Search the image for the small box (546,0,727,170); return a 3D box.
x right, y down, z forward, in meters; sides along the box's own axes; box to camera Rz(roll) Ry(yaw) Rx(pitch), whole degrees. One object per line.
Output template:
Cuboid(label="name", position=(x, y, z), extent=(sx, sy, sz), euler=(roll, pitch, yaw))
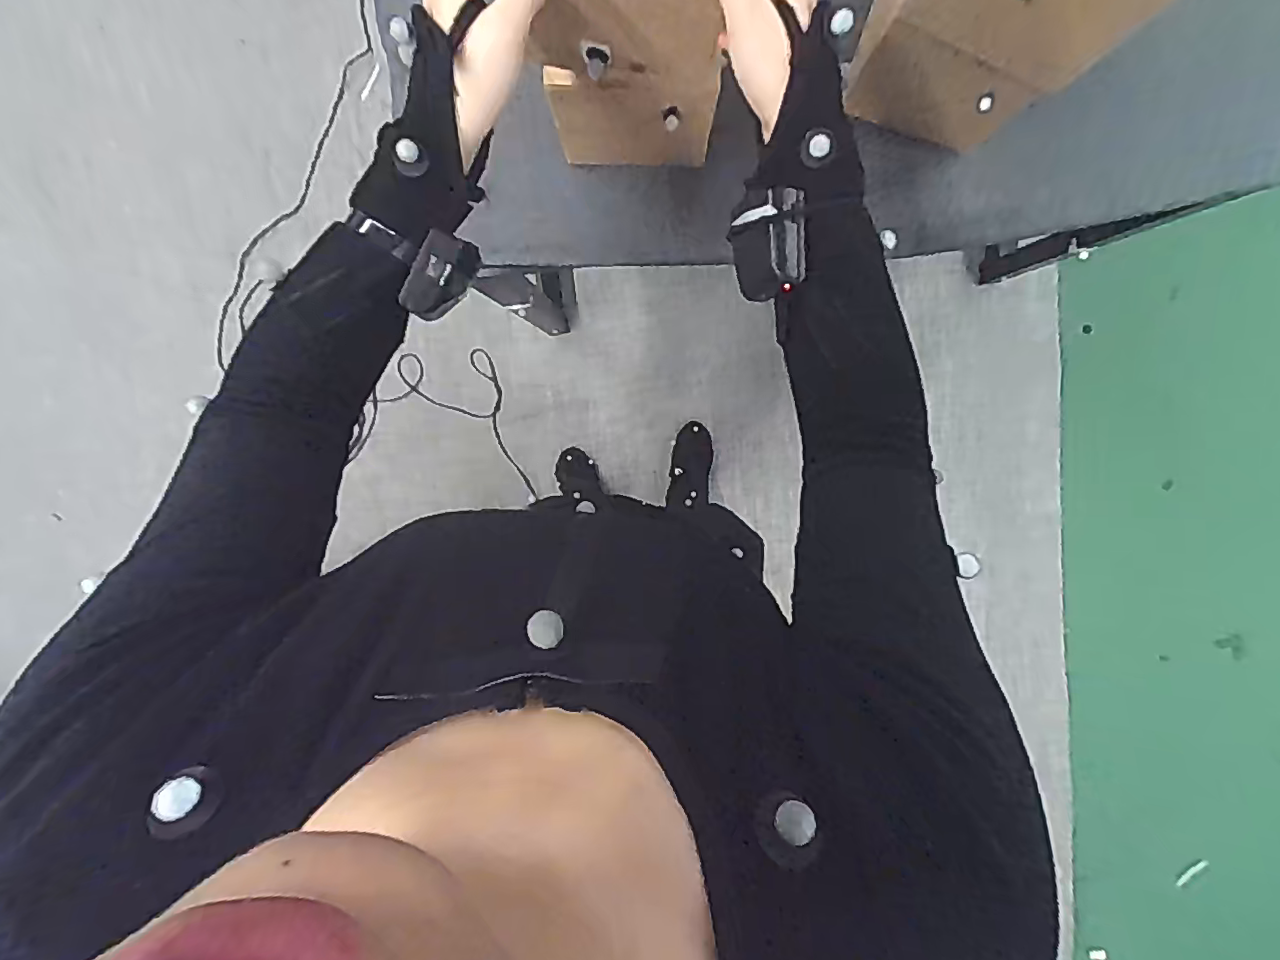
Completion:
Cuboid(label="small box", position=(-0.001, -0.467, 0.599), extent=(0.179, 0.176, 0.168), euler=(2, 97, 2))

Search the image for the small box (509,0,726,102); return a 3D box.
Cuboid(label="small box", position=(-0.011, -0.425, 0.396), extent=(0.168, 0.176, 0.179), euler=(9, 101, -2))

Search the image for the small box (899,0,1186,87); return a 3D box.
Cuboid(label="small box", position=(0.349, -0.459, 0.424), extent=(0.179, 0.176, 0.168), euler=(25, 97, -2))
